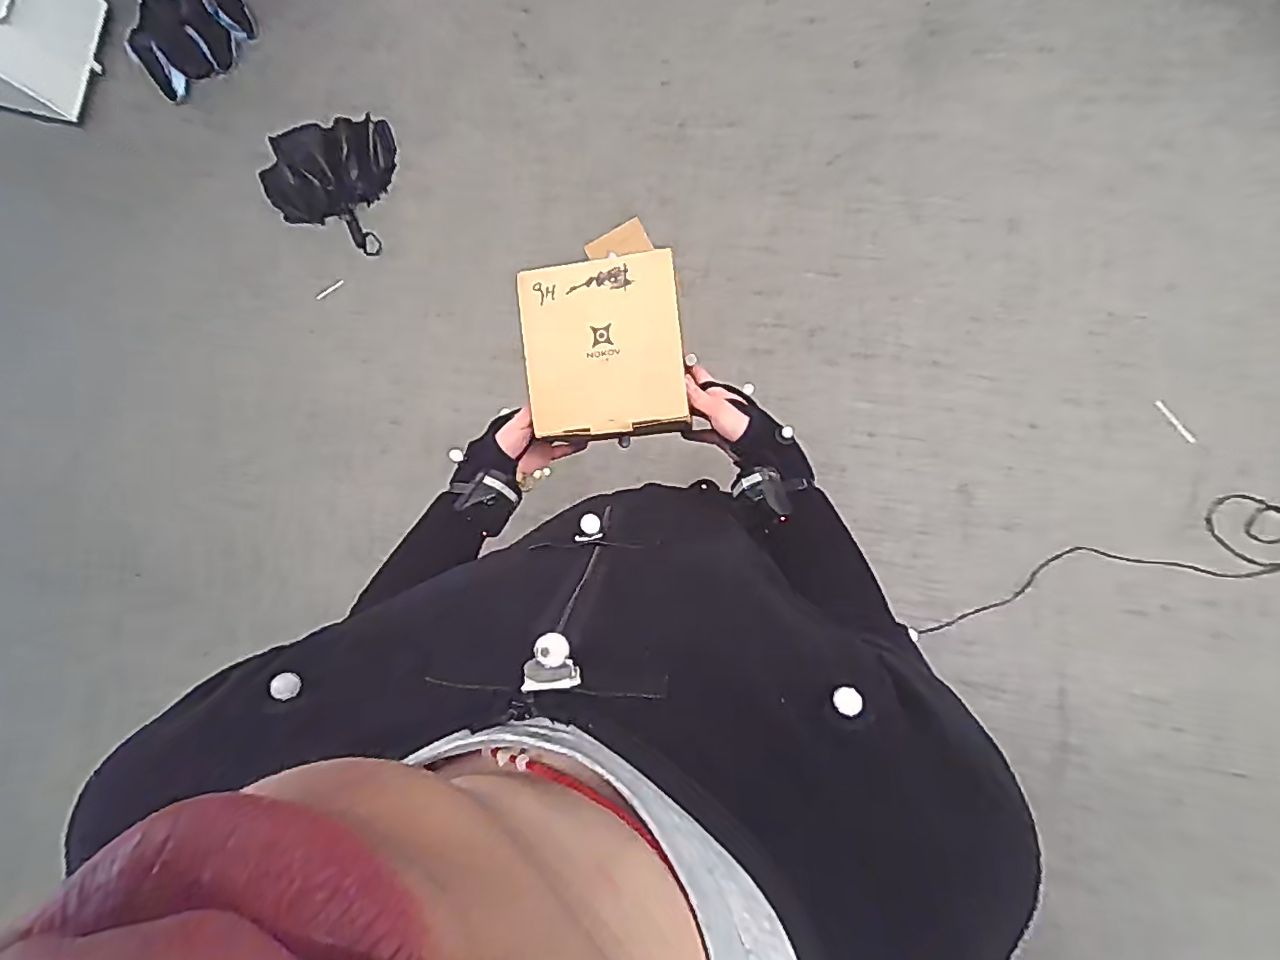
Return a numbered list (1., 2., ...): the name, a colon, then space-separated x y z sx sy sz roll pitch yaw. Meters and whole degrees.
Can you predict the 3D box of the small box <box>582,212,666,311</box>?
1. small box: -0.037 -0.595 1.505 0.168 0.176 0.179 -28 85 3
